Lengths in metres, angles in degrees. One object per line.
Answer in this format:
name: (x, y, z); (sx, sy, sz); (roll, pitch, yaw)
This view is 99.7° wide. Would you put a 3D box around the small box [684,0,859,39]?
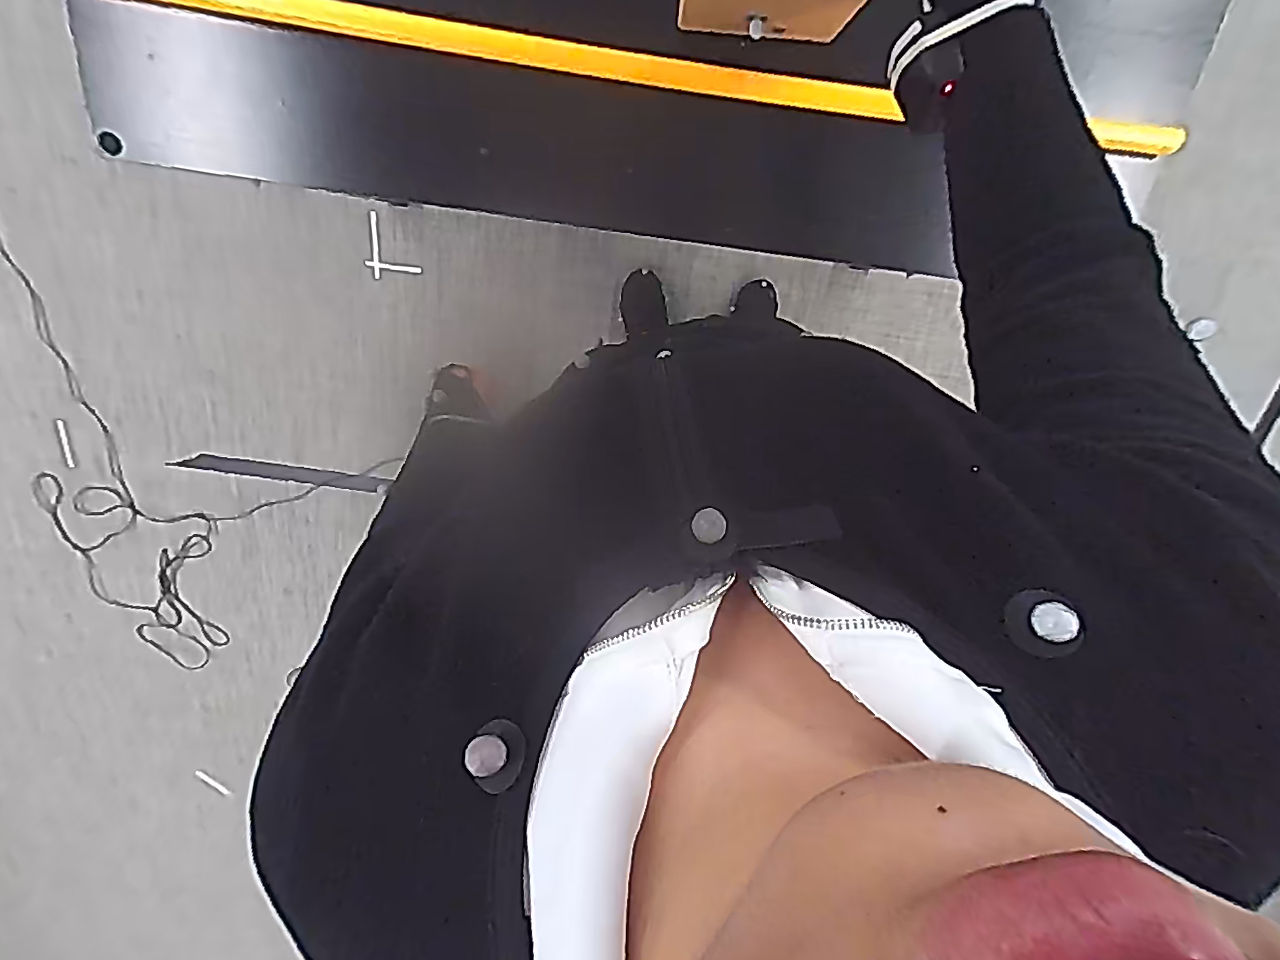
small box: (0.131, -0.530, 0.472); (0.168, 0.176, 0.179); (4, 113, -2)
